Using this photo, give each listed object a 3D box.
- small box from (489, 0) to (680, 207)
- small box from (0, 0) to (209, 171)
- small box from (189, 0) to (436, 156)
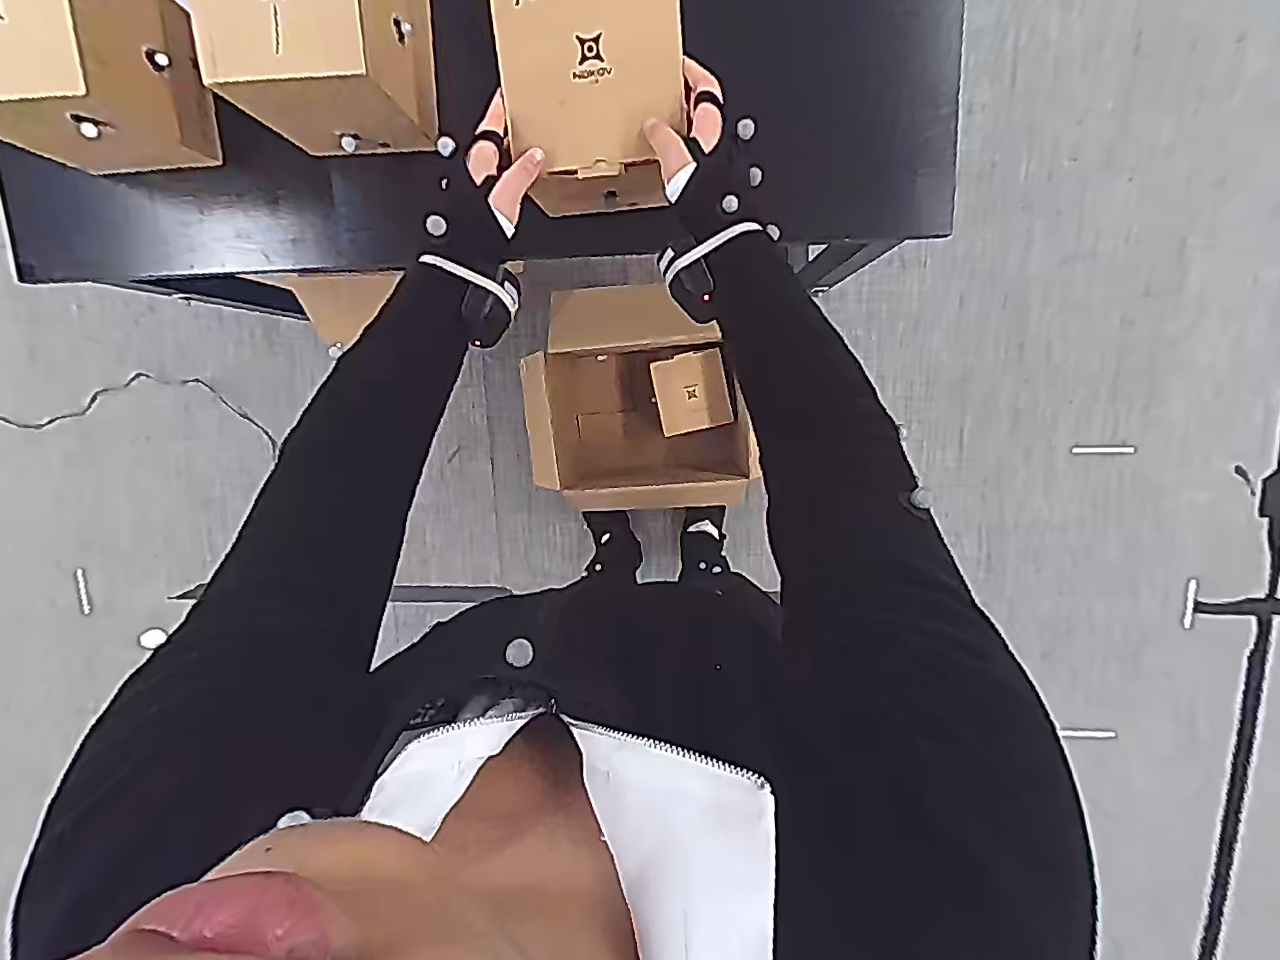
[{"bbox_3d":[-0.044,-0.395,0.563,0.168,0.176,0.179,-4,105,4],"label":"small box"},{"bbox_3d":[-0.619,-0.461,0.593,0.179,0.176,0.168,-2,99,3],"label":"small box"},{"bbox_3d":[-0.335,-0.477,0.579,0.168,0.176,0.179,0,100,3],"label":"small box"}]
